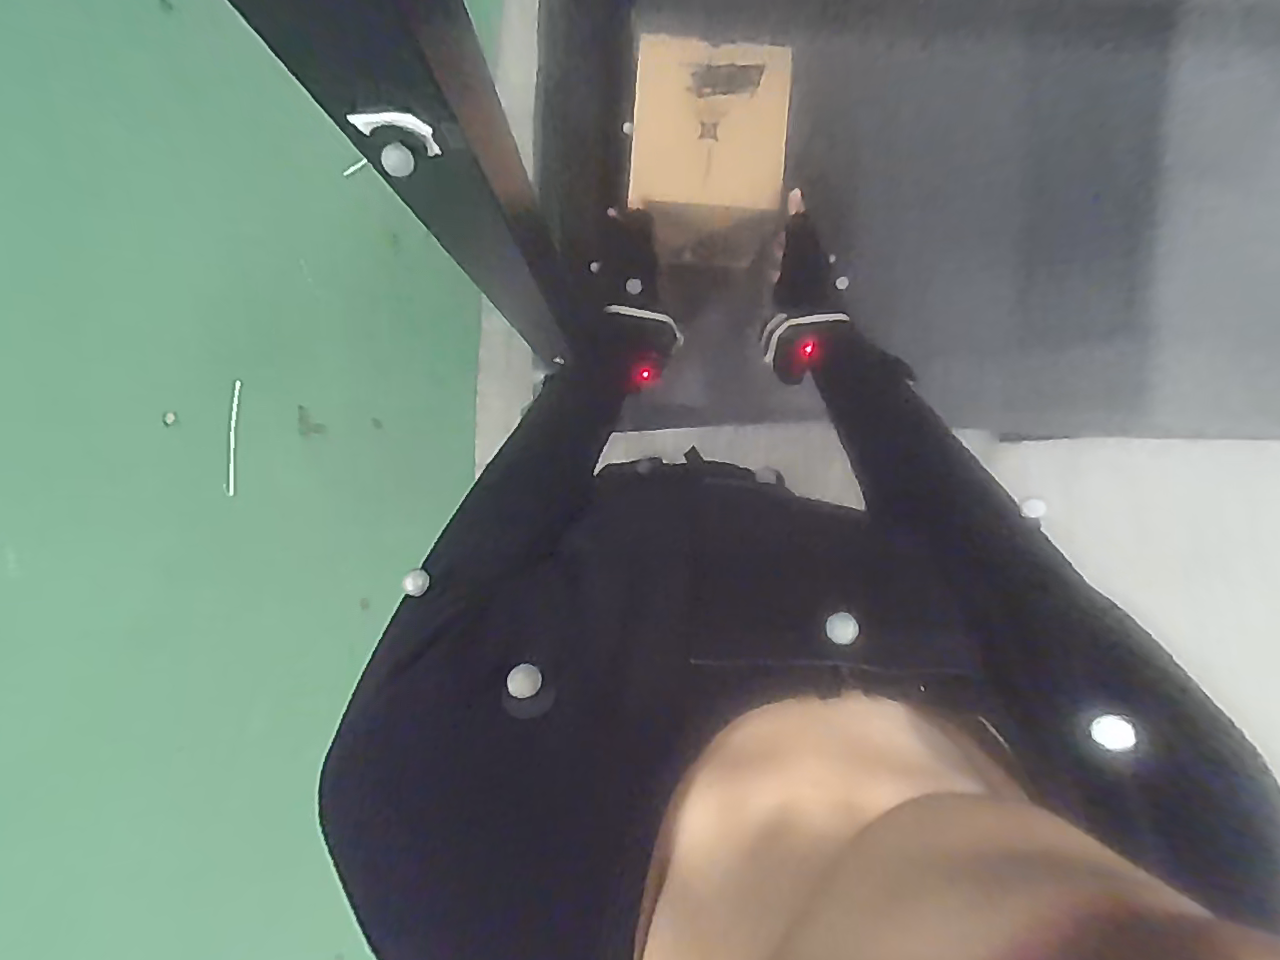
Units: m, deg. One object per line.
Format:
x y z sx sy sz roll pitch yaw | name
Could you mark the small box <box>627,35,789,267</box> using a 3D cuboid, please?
0.072 -0.384 0.659 0.168 0.176 0.179 4 92 -1 | small box
